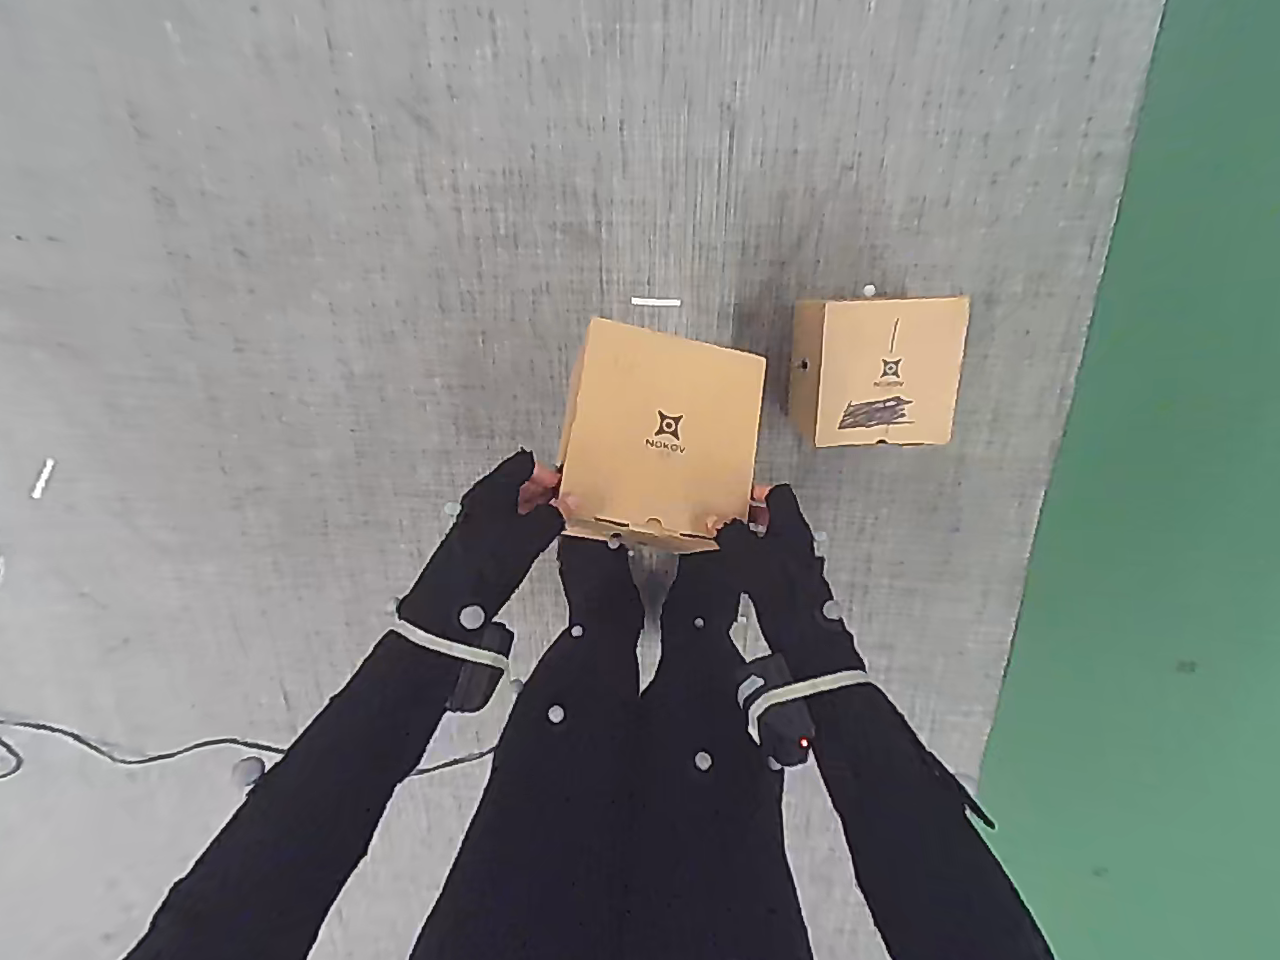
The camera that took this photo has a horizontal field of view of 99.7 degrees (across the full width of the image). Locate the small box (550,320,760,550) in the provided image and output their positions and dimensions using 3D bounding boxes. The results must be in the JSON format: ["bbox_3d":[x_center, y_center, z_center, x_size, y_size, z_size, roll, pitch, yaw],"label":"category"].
[{"bbox_3d":[0.005,-0.030,0.546,0.168,0.176,0.179,10,79,-10],"label":"small box"}]

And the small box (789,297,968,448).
[{"bbox_3d":[0.298,-0.148,0.718,0.168,0.176,0.179,-1,108,4],"label":"small box"}]
